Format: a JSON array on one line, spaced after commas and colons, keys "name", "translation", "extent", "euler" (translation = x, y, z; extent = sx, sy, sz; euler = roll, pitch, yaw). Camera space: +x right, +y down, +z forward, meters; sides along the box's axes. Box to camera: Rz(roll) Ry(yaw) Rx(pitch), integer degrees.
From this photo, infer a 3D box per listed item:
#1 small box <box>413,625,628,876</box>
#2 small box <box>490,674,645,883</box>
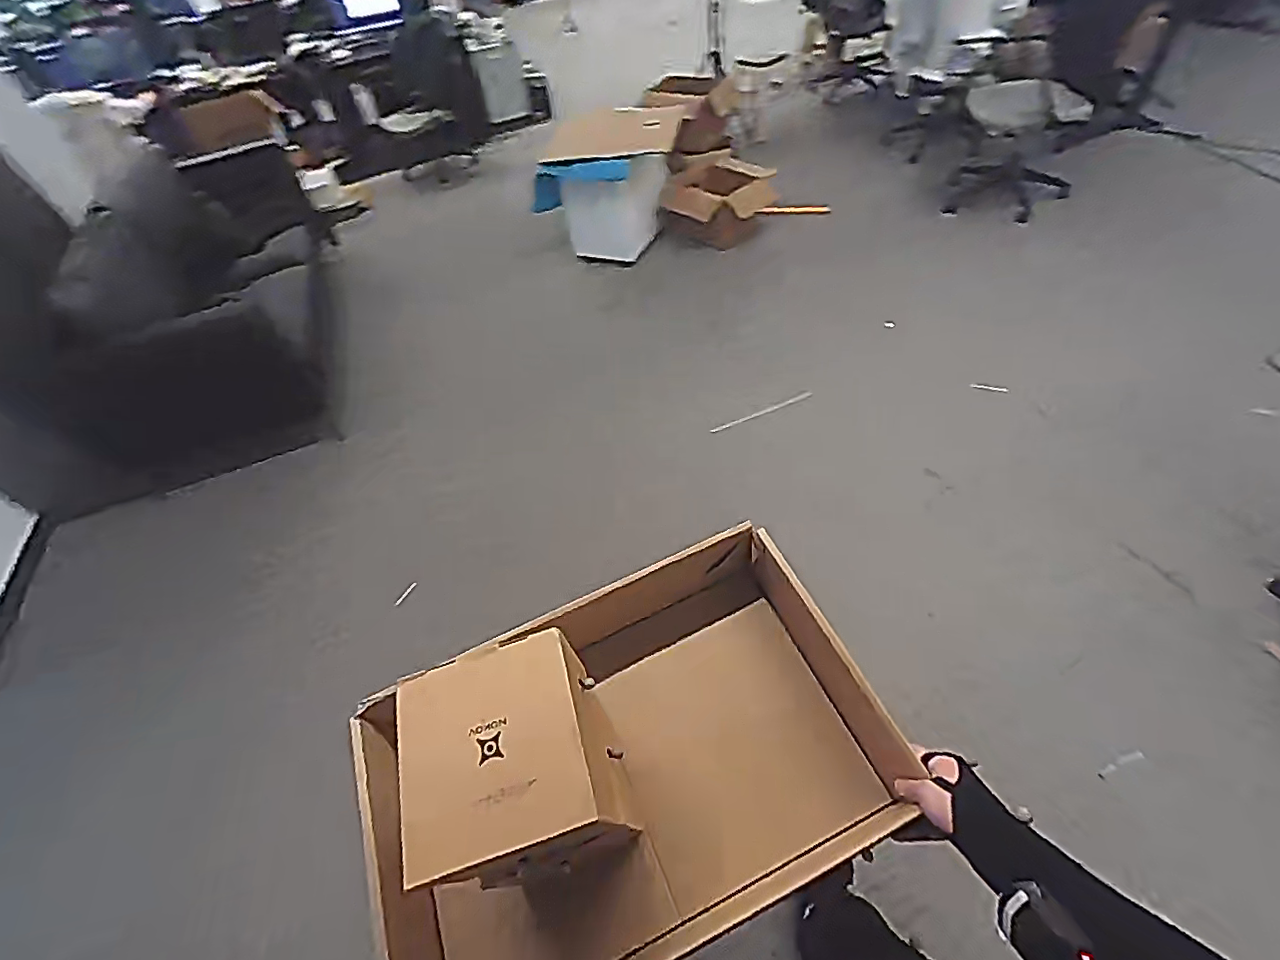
[{"name": "small box", "translation": [-0.117, 0.279, 0.555], "extent": [0.168, 0.176, 0.179], "euler": [-16, 56, -4]}, {"name": "small box", "translation": [-0.099, 0.377, 0.684], "extent": [0.168, 0.176, 0.179], "euler": [-19, 56, -7]}]
